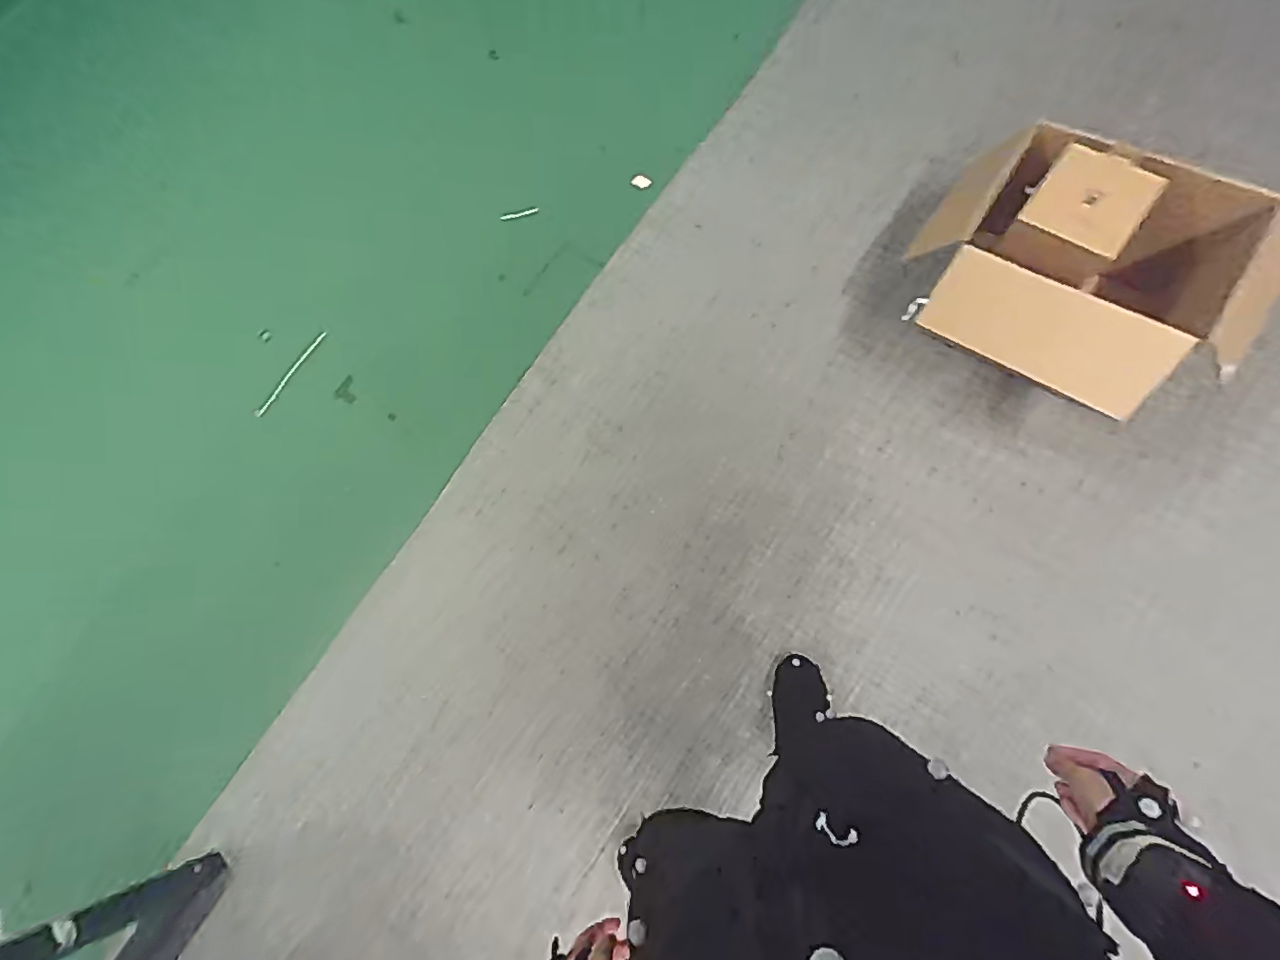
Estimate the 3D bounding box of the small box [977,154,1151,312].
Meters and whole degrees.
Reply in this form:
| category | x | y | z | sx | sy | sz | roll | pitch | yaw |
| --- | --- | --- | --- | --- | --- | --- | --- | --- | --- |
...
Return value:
| category | x | y | z | sx | sy | sz | roll | pitch | yaw |
| --- | --- | --- | --- | --- | --- | --- | --- | --- | --- |
| small box | 0.786 | -0.458 | 1.027 | 0.168 | 0.176 | 0.179 | 36 | 87 | 15 |
